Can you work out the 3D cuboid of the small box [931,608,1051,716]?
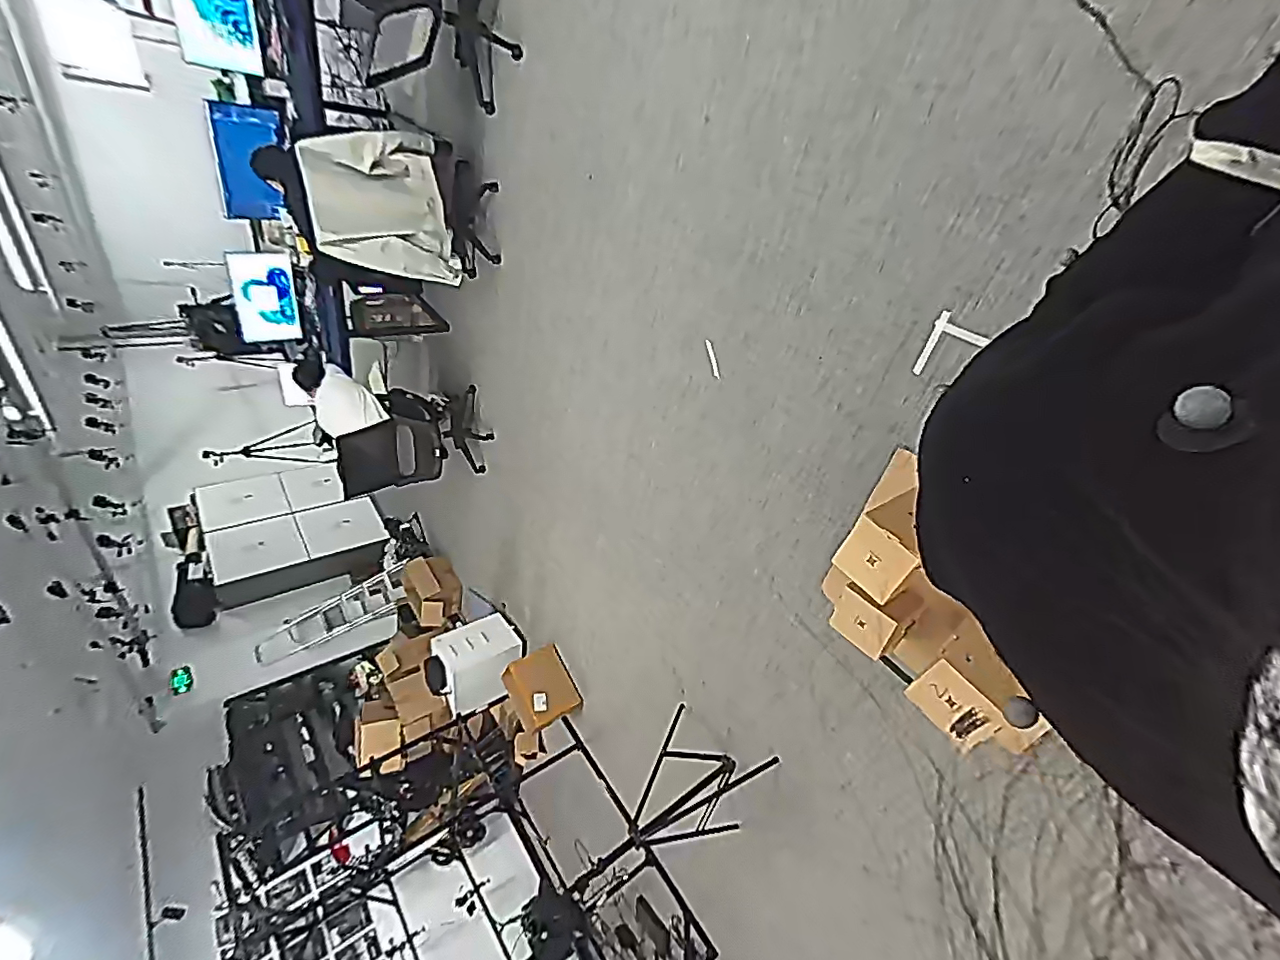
[{"bbox_3d":[0.912,0.467,1.403,0.179,0.176,0.168,49,137,27],"label":"small box"}]

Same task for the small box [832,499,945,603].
[{"bbox_3d":[0.635,0.176,1.379,0.168,0.176,0.179,46,134,32],"label":"small box"}]

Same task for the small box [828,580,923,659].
[{"bbox_3d":[0.713,0.400,1.639,0.179,0.176,0.168,39,133,38],"label":"small box"}]
